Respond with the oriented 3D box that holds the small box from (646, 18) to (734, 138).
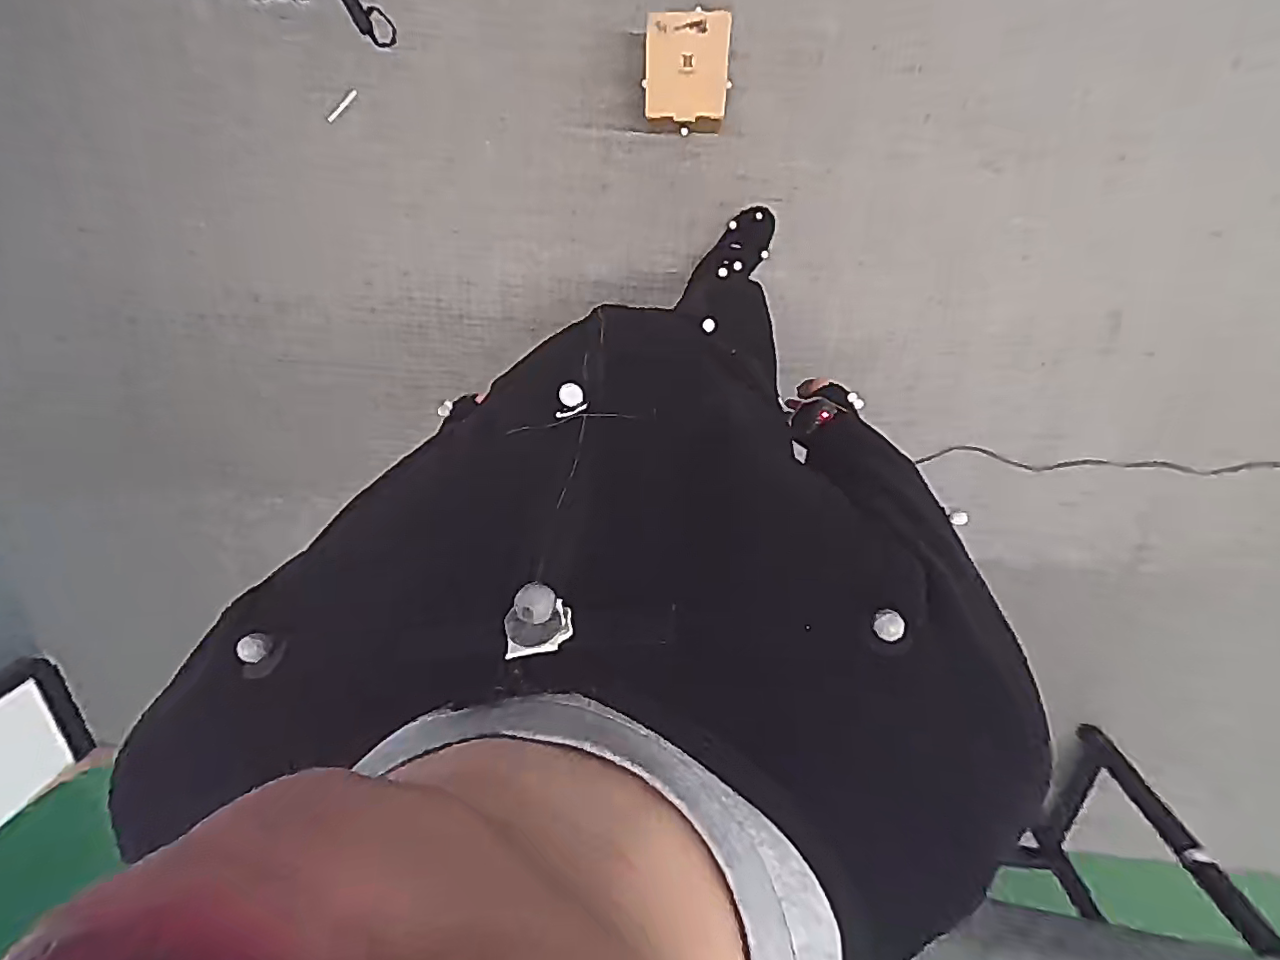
[{"bbox_3d":[0.104,-0.839,1.144,0.168,0.176,0.179,3,114,3],"label":"small box"}]
